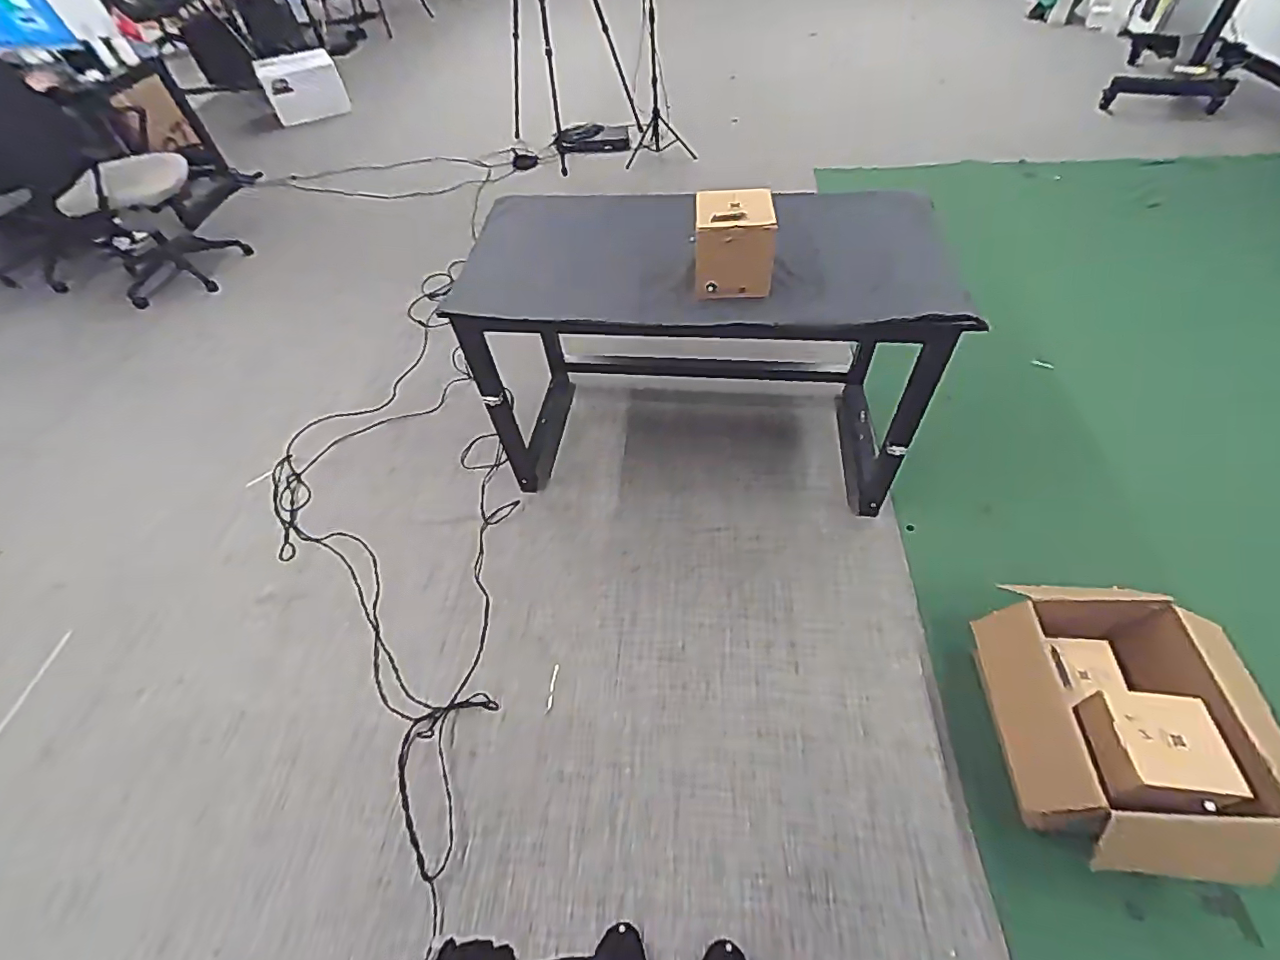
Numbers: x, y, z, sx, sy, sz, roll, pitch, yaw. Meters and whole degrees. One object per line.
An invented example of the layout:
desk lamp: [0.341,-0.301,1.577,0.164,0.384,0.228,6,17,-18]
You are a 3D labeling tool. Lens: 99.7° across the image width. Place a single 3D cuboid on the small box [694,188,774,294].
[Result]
small box: [0.208,-0.539,1.231,0.168,0.176,0.179,0,51,5]
